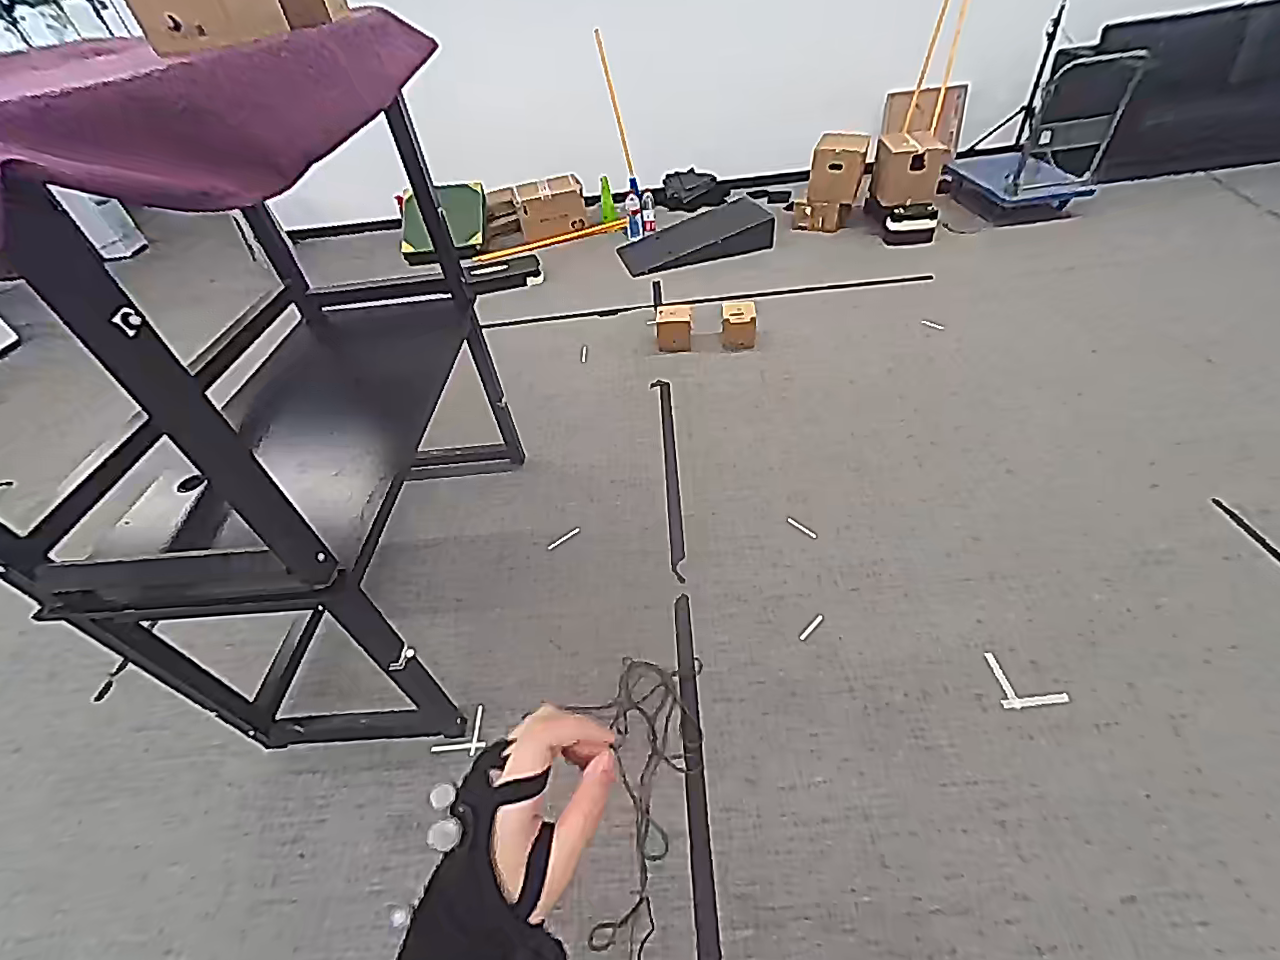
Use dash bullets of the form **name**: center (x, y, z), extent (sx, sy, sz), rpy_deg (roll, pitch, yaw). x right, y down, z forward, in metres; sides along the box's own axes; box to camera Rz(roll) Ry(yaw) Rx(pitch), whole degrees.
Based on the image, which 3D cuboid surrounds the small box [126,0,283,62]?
- **small box**: center (-0.765, -0.844, 0.935), extent (0.168, 0.176, 0.179), rpy_deg (-3, 45, 7)

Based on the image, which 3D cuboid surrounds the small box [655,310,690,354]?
- **small box**: center (0.172, -0.774, 2.832), extent (0.179, 0.176, 0.168), rpy_deg (0, 44, 6)

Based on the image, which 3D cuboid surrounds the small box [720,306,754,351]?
- **small box**: center (0.502, -0.780, 2.797), extent (0.168, 0.176, 0.179), rpy_deg (0, 44, 7)

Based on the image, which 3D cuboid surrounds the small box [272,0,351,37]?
- **small box**: center (-0.759, -1.059, 1.150), extent (0.179, 0.176, 0.168), rpy_deg (-9, 45, 0)
